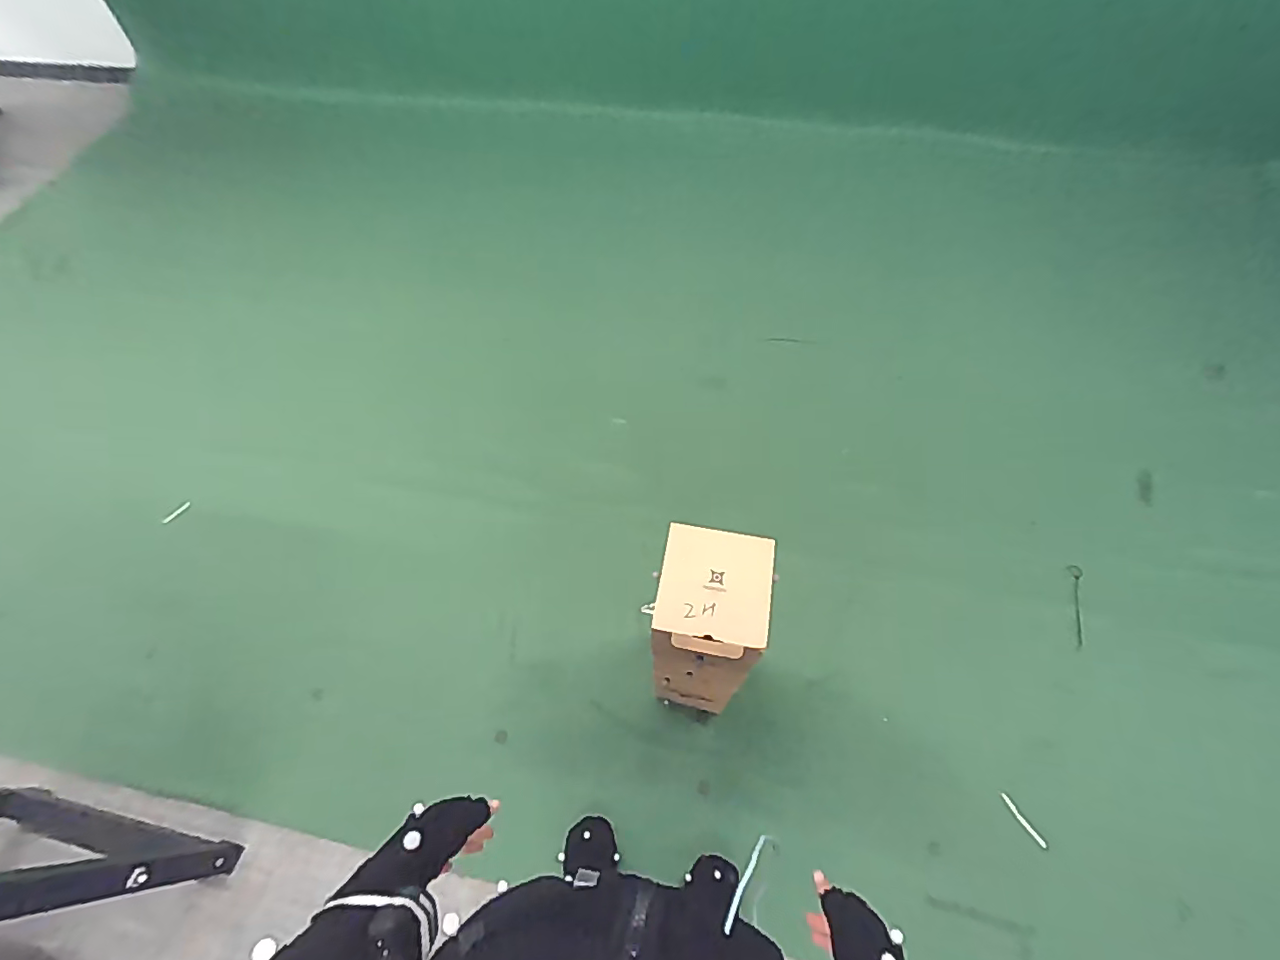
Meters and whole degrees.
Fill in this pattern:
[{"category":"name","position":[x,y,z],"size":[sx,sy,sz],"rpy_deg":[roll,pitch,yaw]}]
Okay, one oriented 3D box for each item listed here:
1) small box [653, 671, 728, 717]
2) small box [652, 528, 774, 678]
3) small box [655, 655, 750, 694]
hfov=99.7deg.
[{"category":"small box","position":[0.133,0.455,1.300],"size":[0.168,0.176,0.179],"rpy_deg":[12,60,9]},{"category":"small box","position":[0.113,0.203,0.878],"size":[0.168,0.176,0.179],"rpy_deg":[9,60,7]},{"category":"small box","position":[0.123,0.285,1.020],"size":[0.168,0.176,0.179],"rpy_deg":[10,60,7]}]
